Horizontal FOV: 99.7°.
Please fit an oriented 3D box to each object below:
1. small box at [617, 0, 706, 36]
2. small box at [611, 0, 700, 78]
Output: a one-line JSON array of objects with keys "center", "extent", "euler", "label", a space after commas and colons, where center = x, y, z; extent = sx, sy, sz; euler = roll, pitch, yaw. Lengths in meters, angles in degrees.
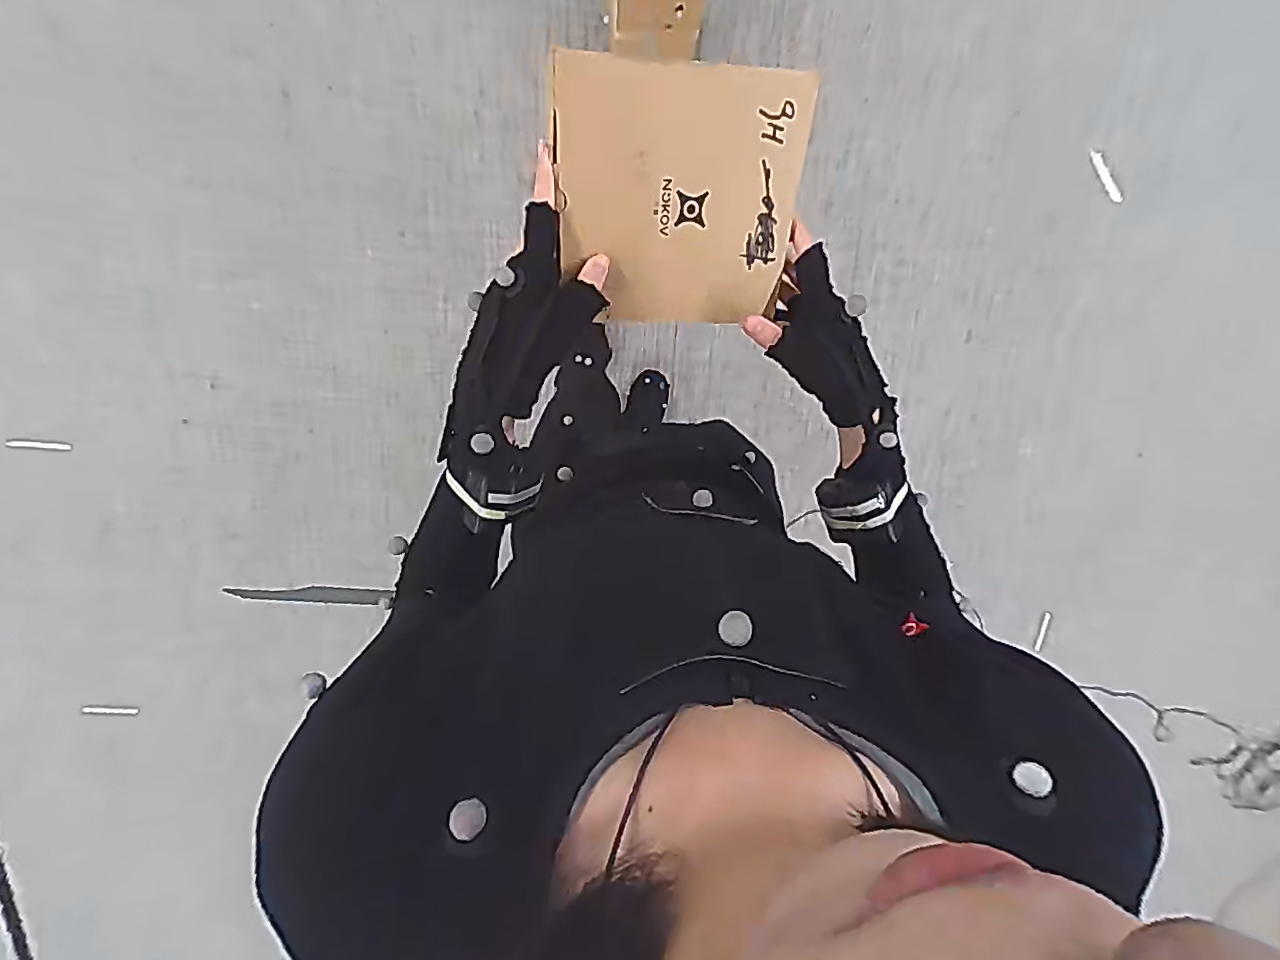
[{"center": [0.043, -0.975, 1.012], "extent": [0.168, 0.176, 0.179], "euler": [-1, 104, -5], "label": "small box"}, {"center": [0.029, -1.004, 1.172], "extent": [0.179, 0.176, 0.168], "euler": [-4, 105, -2], "label": "small box"}]
